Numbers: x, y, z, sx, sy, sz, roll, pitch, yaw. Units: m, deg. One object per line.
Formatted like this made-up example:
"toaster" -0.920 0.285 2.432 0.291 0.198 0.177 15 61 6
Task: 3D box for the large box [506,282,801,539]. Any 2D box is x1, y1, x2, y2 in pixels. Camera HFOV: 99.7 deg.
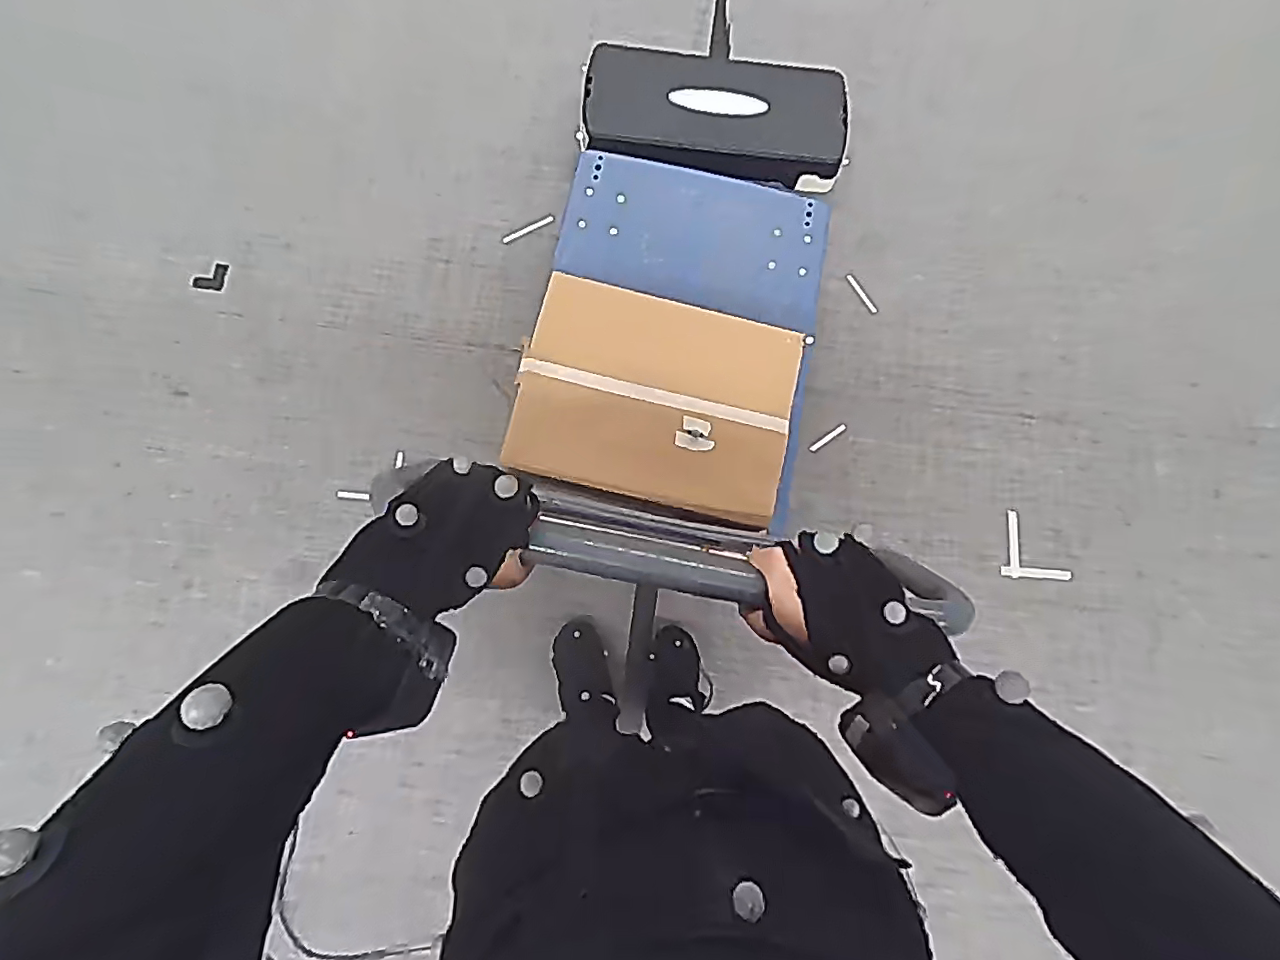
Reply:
"large box" 0.015 -0.093 0.957 0.408 0.320 0.320 14 80 -3
